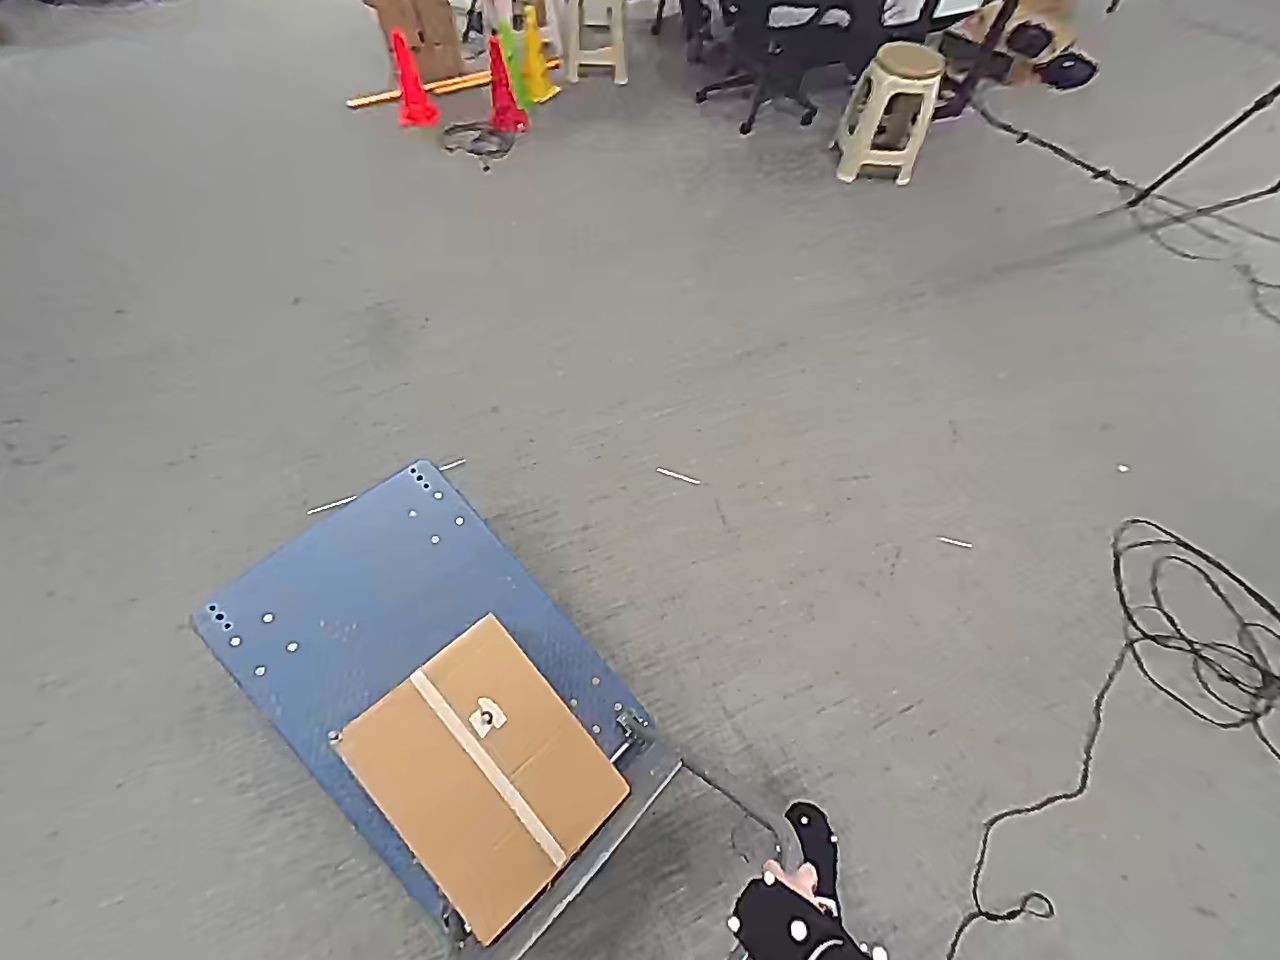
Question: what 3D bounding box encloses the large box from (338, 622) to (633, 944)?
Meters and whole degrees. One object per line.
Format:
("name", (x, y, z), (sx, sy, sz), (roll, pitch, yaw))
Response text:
("large box", (-0.280, 0.532, 1.043), (0.320, 0.320, 0.408), (-39, 86, -22))
